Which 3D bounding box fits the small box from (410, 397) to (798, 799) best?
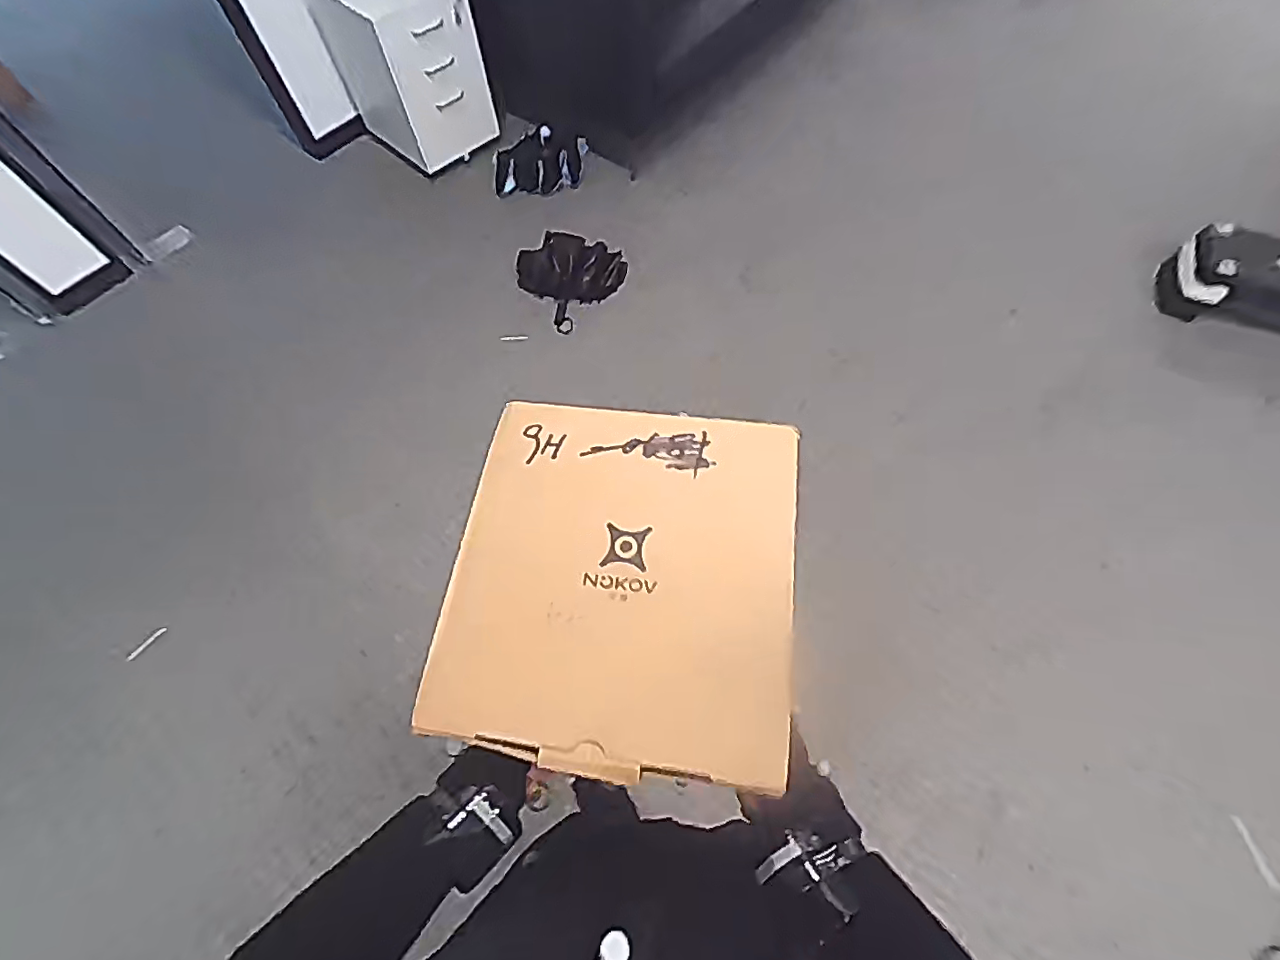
[{"bbox_3d":[-0.004,0.072,0.333,0.168,0.176,0.179,6,67,8],"label":"small box"}]
